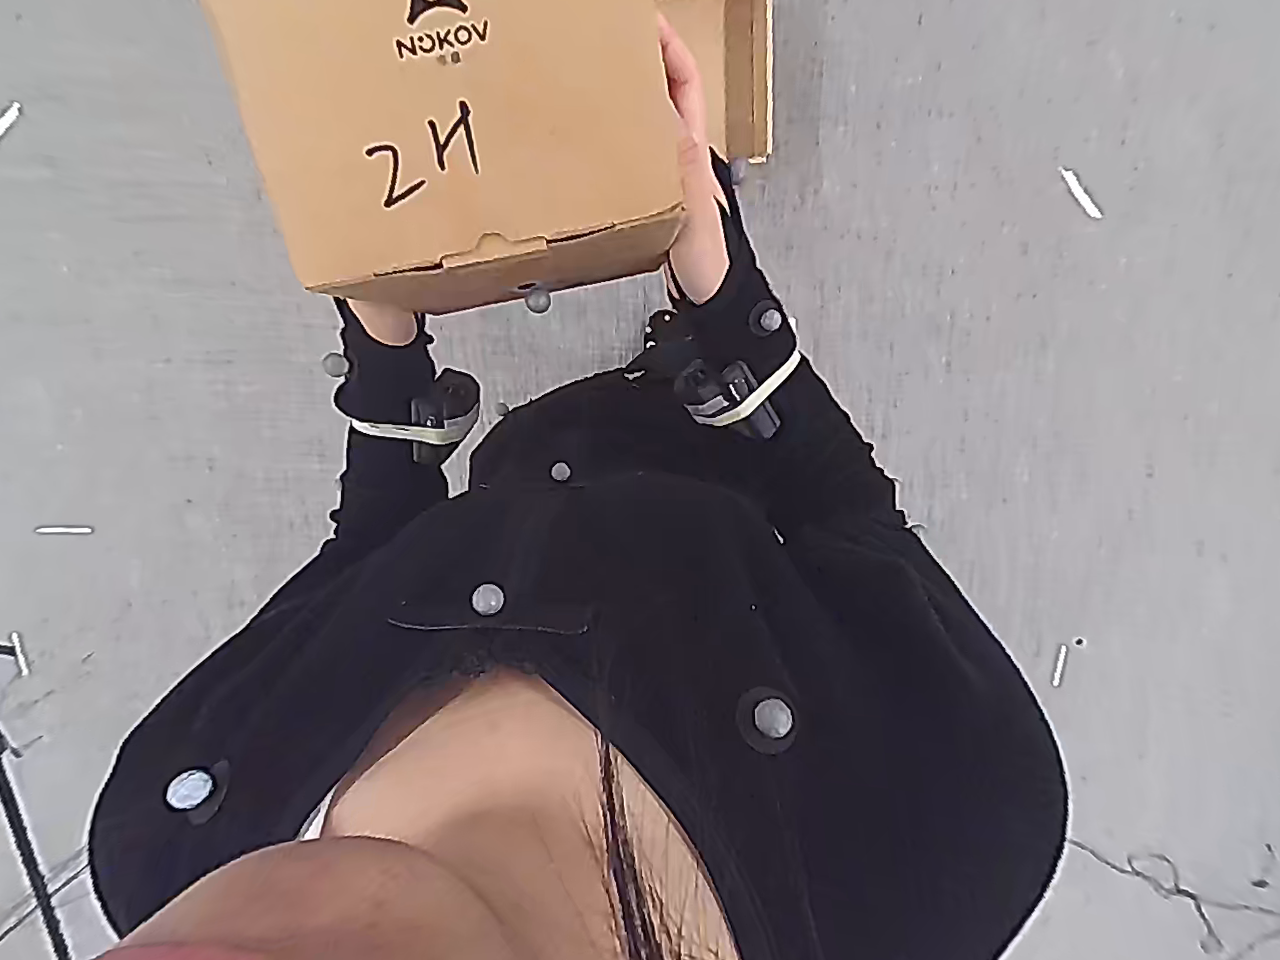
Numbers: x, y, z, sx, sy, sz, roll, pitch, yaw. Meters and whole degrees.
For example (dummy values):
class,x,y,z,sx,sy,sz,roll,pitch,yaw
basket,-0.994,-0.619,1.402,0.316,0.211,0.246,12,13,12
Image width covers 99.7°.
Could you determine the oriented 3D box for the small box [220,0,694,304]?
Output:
class,x,y,z,sx,sy,sz,roll,pitch,yaw
small box,-0.076,-0.200,0.280,0.168,0.176,0.179,-11,104,0
